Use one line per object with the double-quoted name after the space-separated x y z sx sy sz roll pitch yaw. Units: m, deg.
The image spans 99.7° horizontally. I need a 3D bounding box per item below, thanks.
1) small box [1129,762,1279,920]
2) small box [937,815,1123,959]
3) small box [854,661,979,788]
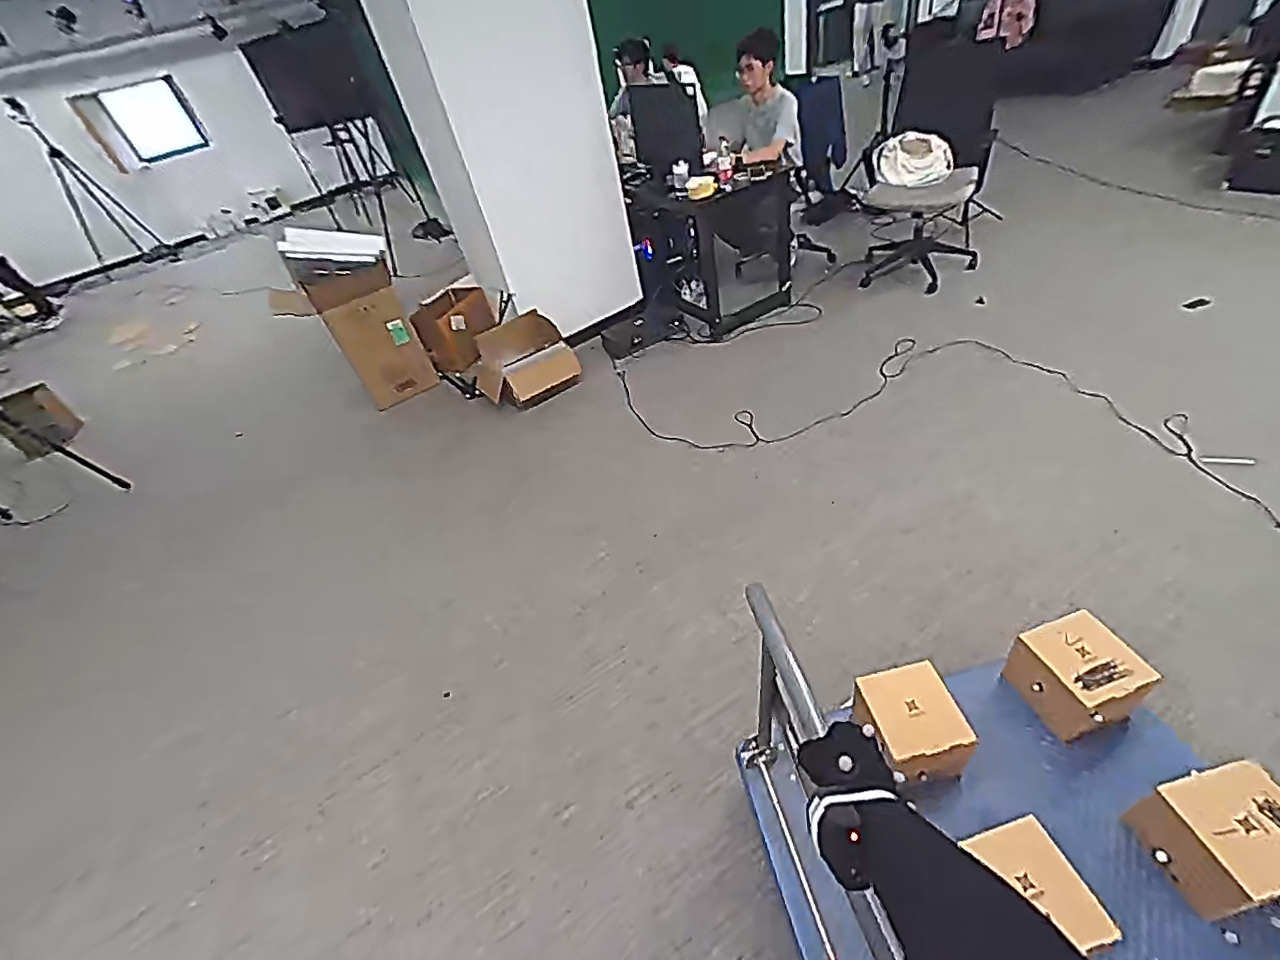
1.000 0.613 0.917 0.179 0.176 0.168 -17 41 0 "small box"
0.637 0.711 0.915 0.168 0.176 0.179 -18 41 -3 "small box"
0.572 0.520 1.149 0.168 0.176 0.179 -14 43 0 "small box"
